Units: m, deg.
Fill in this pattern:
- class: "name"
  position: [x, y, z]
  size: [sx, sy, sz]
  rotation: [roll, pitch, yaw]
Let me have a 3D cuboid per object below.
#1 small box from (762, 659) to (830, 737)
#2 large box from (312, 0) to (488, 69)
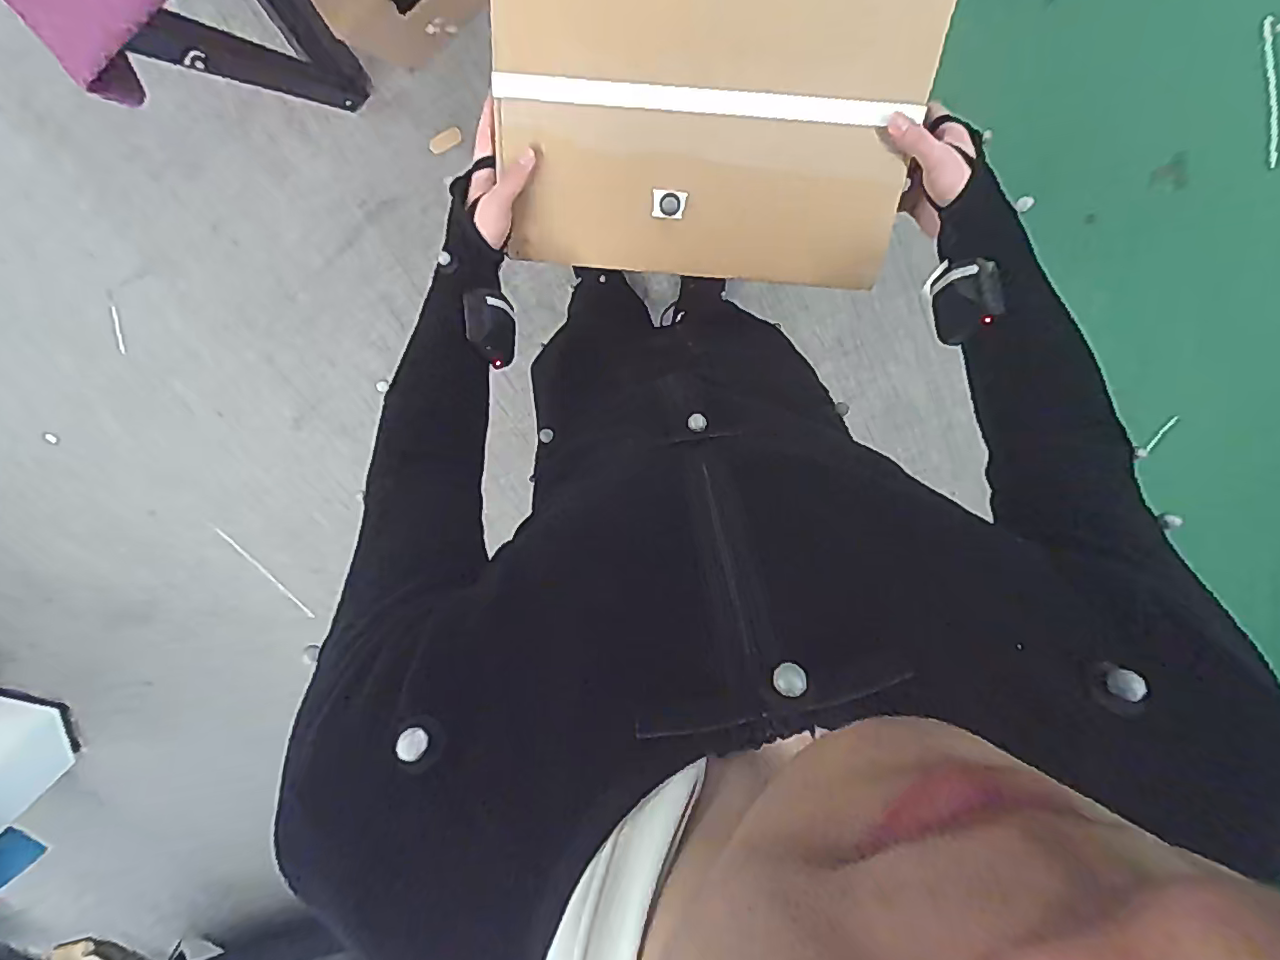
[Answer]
- class: "small box"
  position: [0.557, 0.785, 1.957]
  size: [0.179, 0.176, 0.168]
  rotation: [-30, 111, 17]
- class: "large box"
  position: [-0.526, -1.115, 1.030]
  size: [0.320, 0.320, 0.408]
  rotation: [-27, 111, 16]
